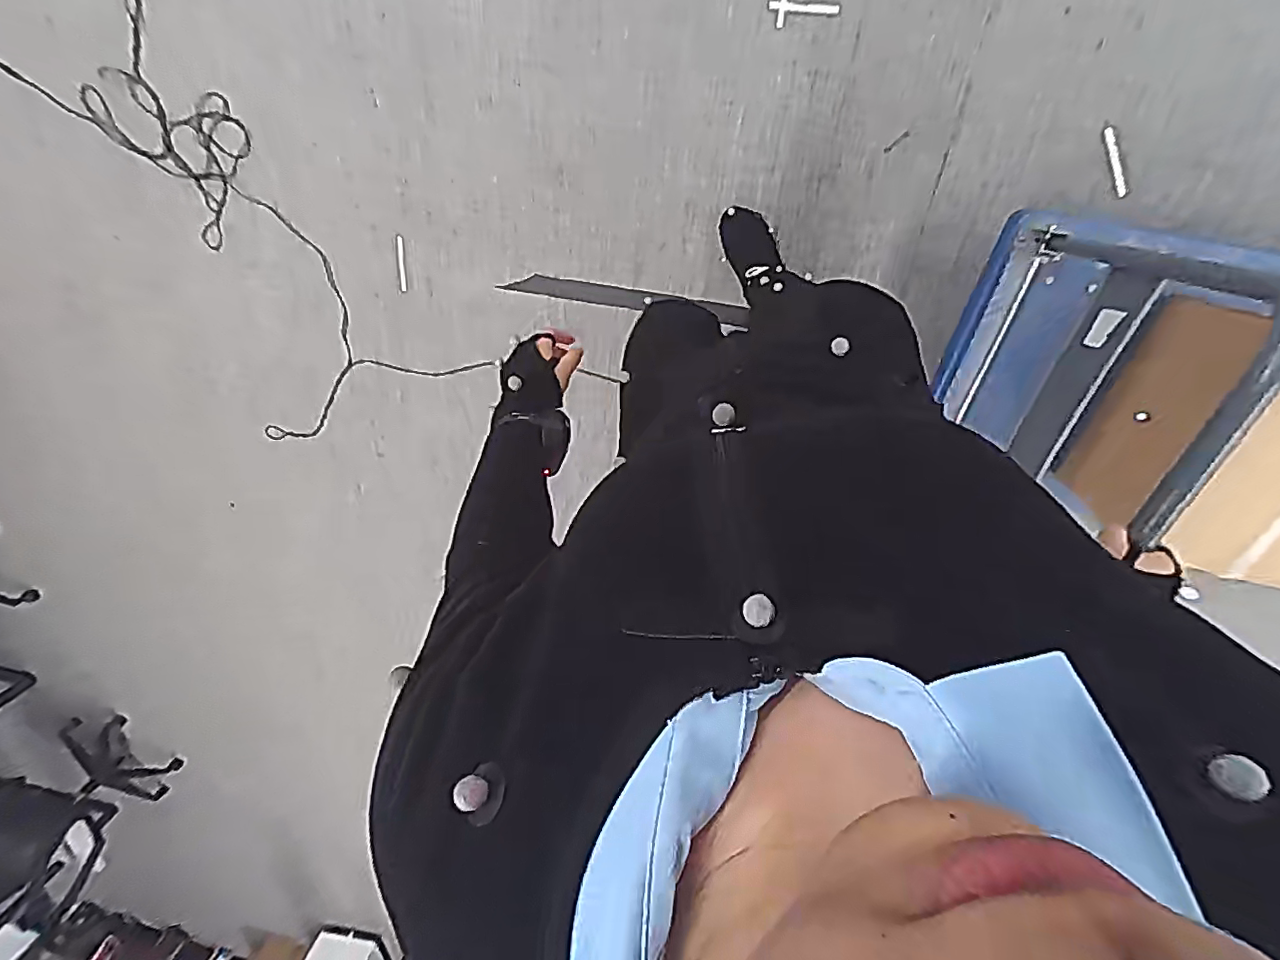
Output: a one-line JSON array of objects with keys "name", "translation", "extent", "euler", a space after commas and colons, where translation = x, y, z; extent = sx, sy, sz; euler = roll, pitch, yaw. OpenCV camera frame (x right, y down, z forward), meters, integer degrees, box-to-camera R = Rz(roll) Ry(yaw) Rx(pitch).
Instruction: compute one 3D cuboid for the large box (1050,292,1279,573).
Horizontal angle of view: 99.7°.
[{"name": "large box", "translation": [1.084, -0.098, 1.008], "extent": [0.320, 0.320, 0.408], "euler": [13, 119, 4]}]
